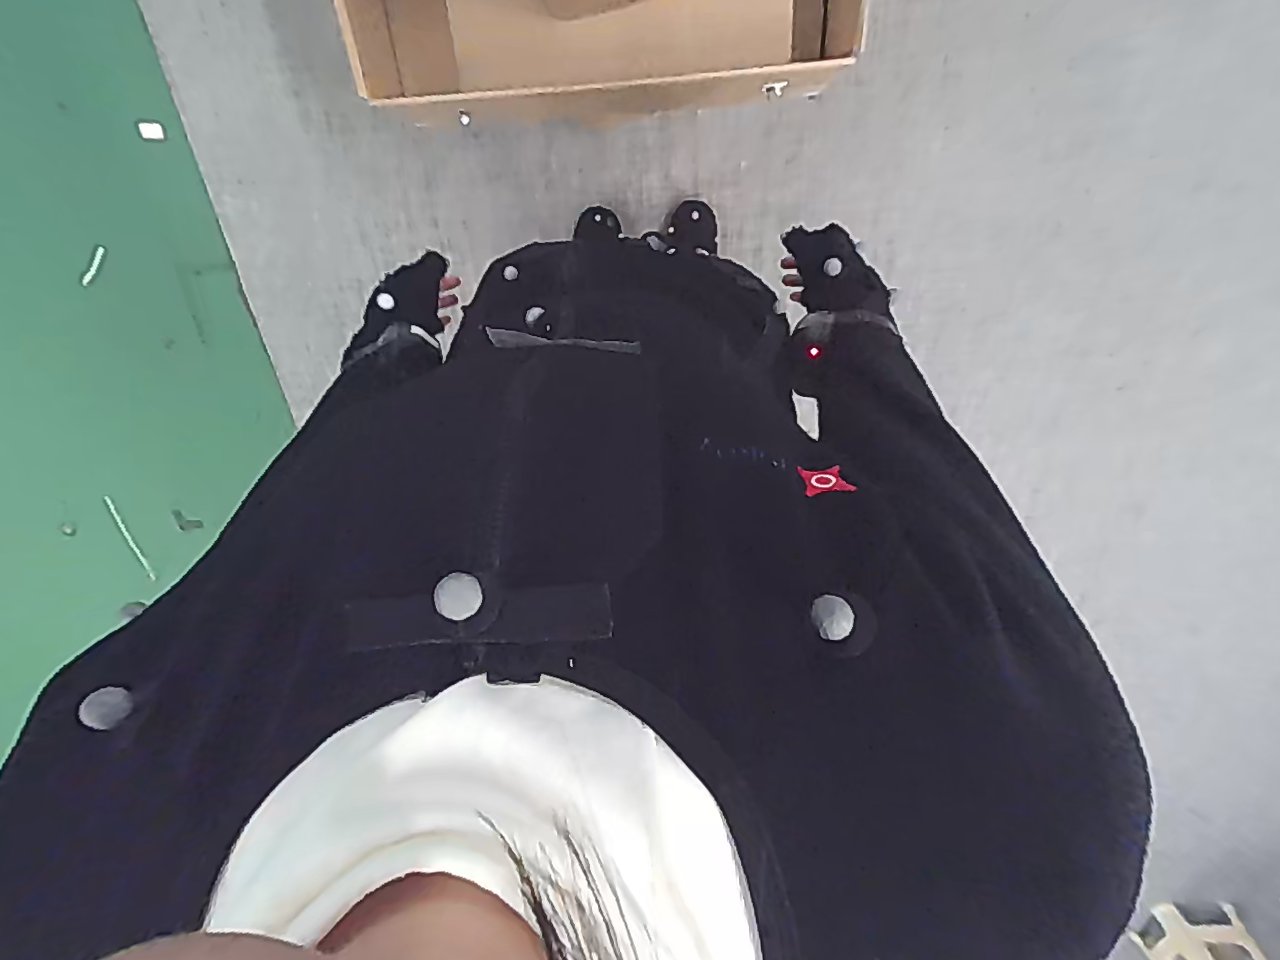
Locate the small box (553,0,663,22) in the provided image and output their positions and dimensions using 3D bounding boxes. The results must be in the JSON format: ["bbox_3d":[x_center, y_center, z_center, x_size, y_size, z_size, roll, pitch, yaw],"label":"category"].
[{"bbox_3d":[-0.048,-0.675,0.621,0.168,0.176,0.179,-8,116,7],"label":"small box"}]
